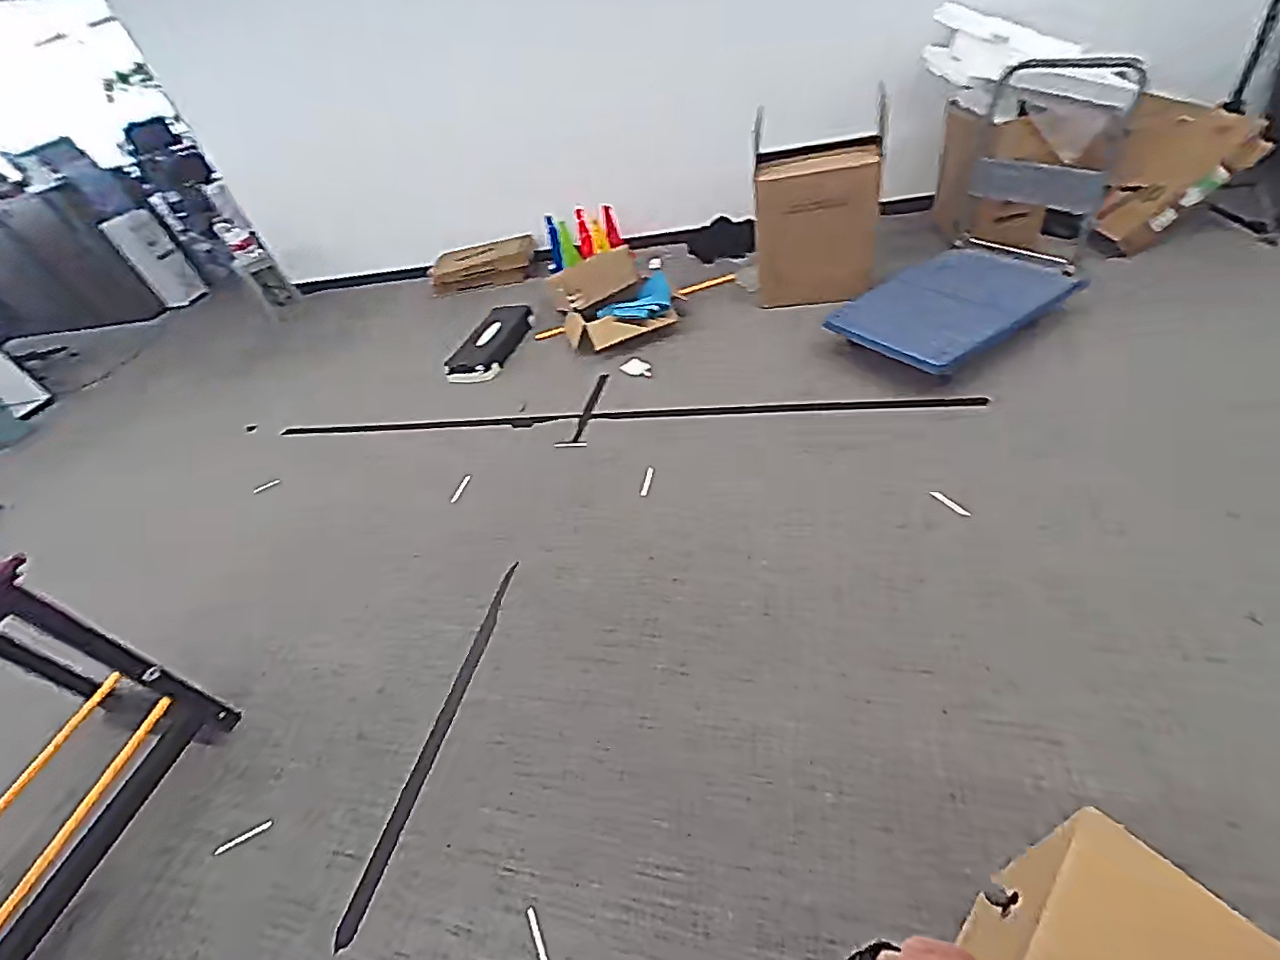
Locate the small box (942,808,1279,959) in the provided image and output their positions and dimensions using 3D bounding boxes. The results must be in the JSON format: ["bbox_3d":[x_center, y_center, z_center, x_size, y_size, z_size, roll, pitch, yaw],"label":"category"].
[{"bbox_3d":[0.300,0.367,0.341,0.168,0.176,0.179,-26,47,-34],"label":"small box"}]
